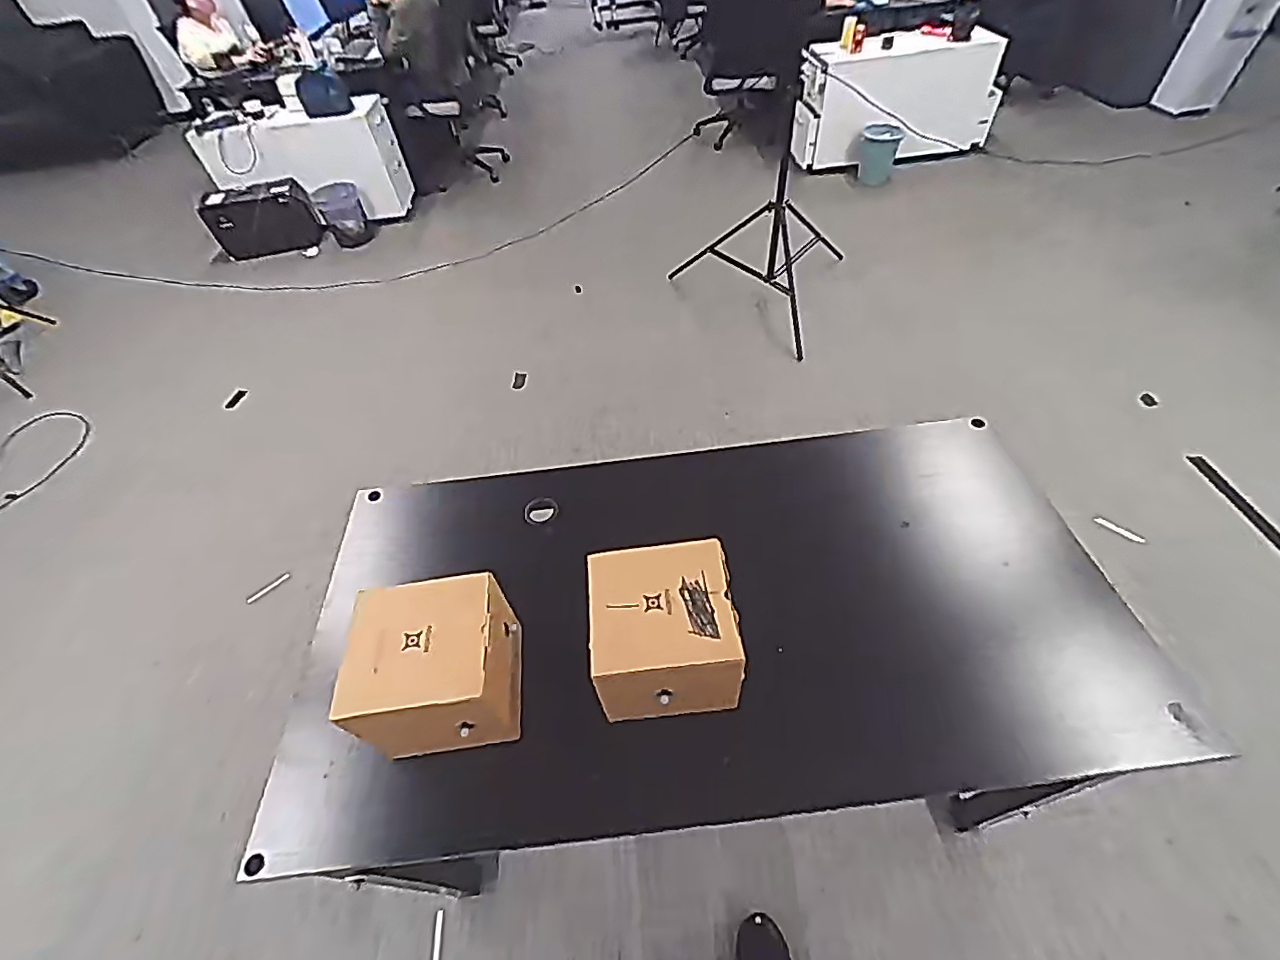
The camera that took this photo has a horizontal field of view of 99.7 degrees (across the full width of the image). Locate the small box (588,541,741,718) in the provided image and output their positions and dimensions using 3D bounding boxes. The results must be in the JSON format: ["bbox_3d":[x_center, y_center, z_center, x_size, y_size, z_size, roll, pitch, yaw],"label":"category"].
[{"bbox_3d":[0.029,0.203,0.721,0.179,0.176,0.168,-7,49,1],"label":"small box"}]

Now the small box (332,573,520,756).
[{"bbox_3d":[-0.262,0.247,0.715,0.179,0.176,0.168,-9,49,-1],"label":"small box"}]
